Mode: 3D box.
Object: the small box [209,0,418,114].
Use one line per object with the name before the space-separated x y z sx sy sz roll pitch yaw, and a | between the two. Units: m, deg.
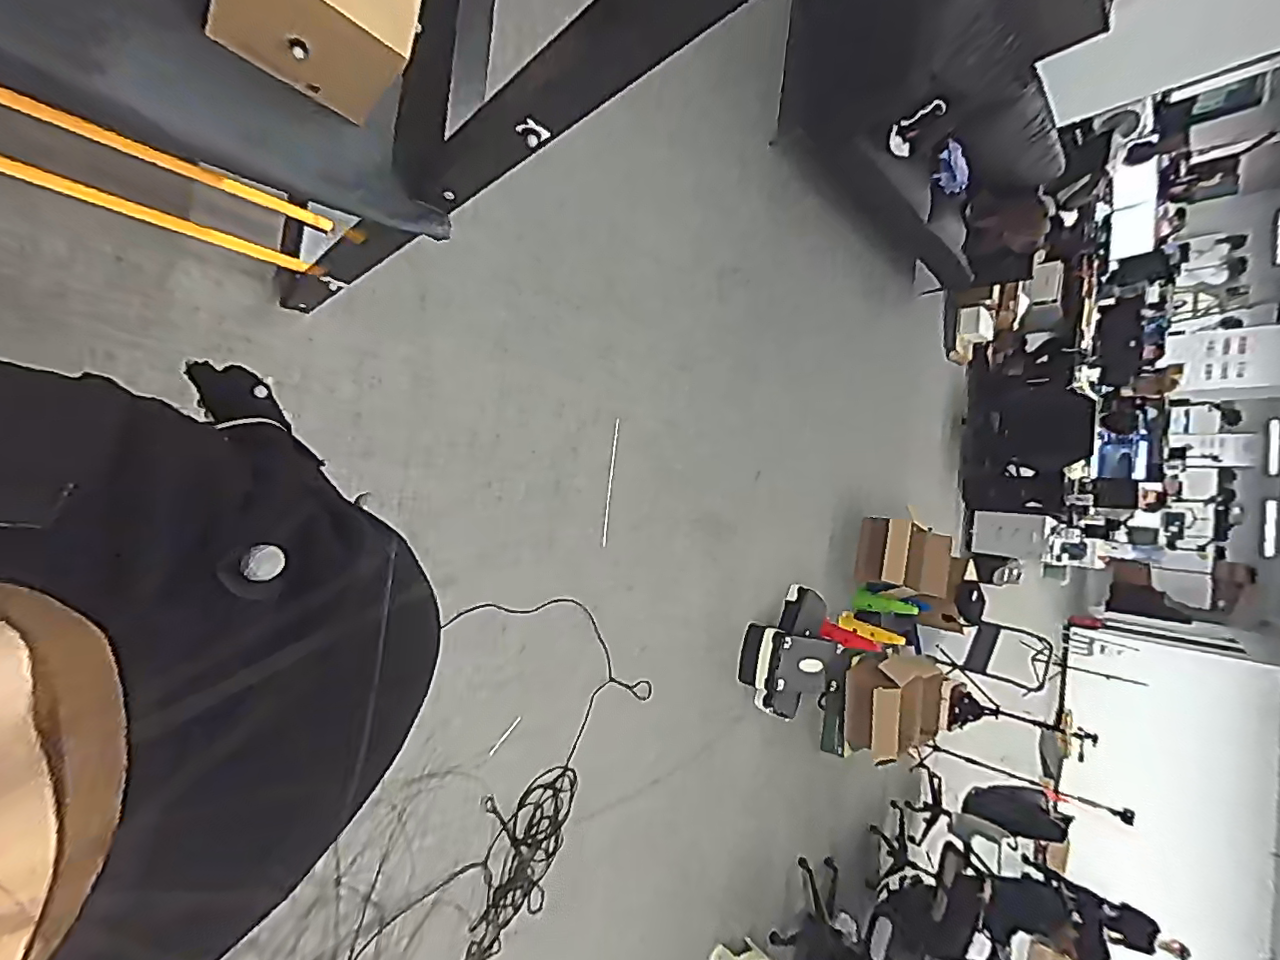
small box | -0.356 -0.563 0.603 0.168 0.176 0.179 14 82 -44
